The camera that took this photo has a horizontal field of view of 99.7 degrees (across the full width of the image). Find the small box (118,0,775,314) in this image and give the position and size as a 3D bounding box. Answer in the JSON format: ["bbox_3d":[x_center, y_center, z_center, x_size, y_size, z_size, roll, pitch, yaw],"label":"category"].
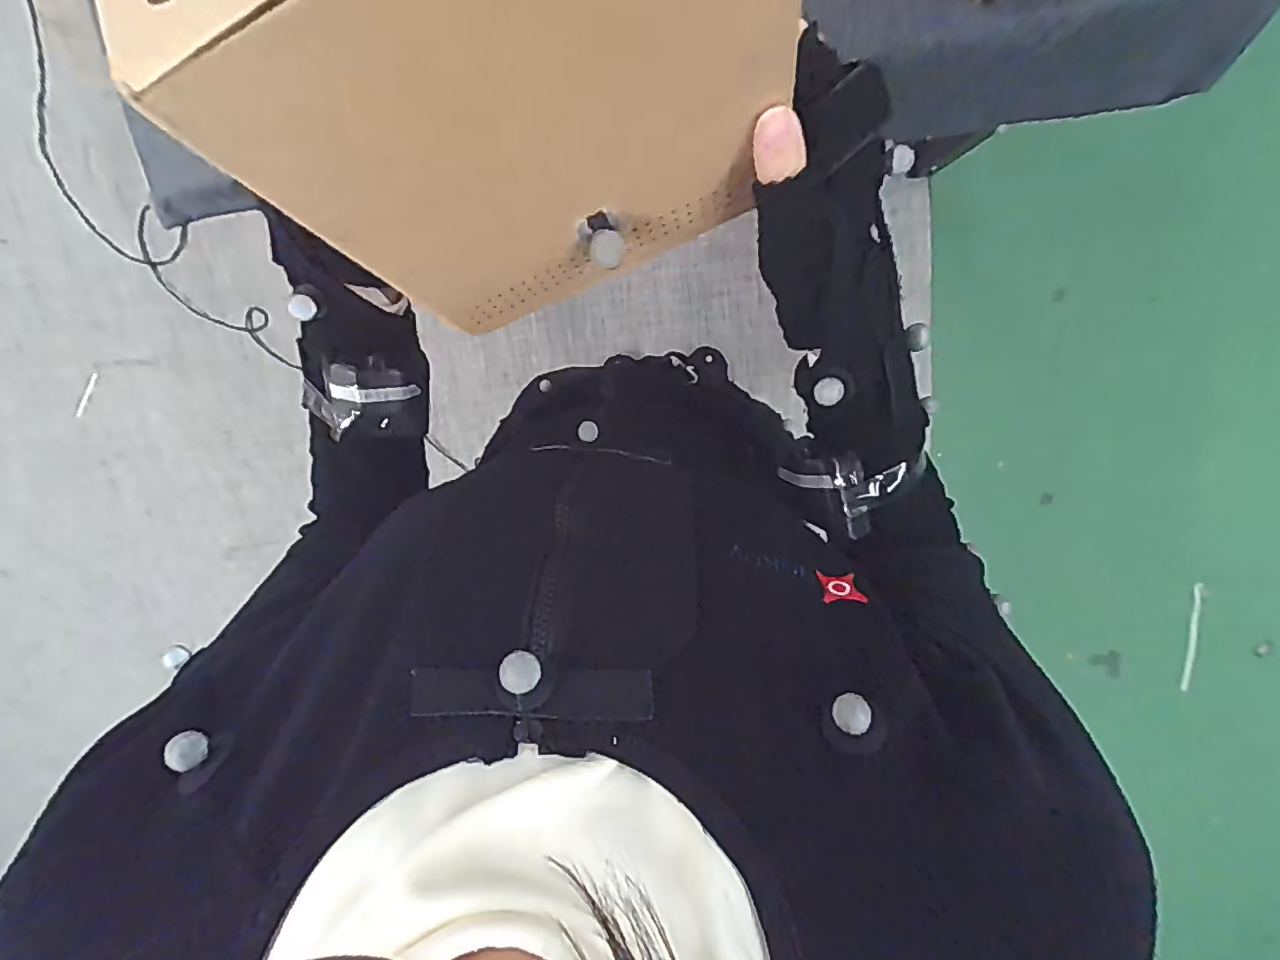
[{"bbox_3d":[-0.056,-0.196,0.211,0.179,0.176,0.168,-22,80,8],"label":"small box"}]
